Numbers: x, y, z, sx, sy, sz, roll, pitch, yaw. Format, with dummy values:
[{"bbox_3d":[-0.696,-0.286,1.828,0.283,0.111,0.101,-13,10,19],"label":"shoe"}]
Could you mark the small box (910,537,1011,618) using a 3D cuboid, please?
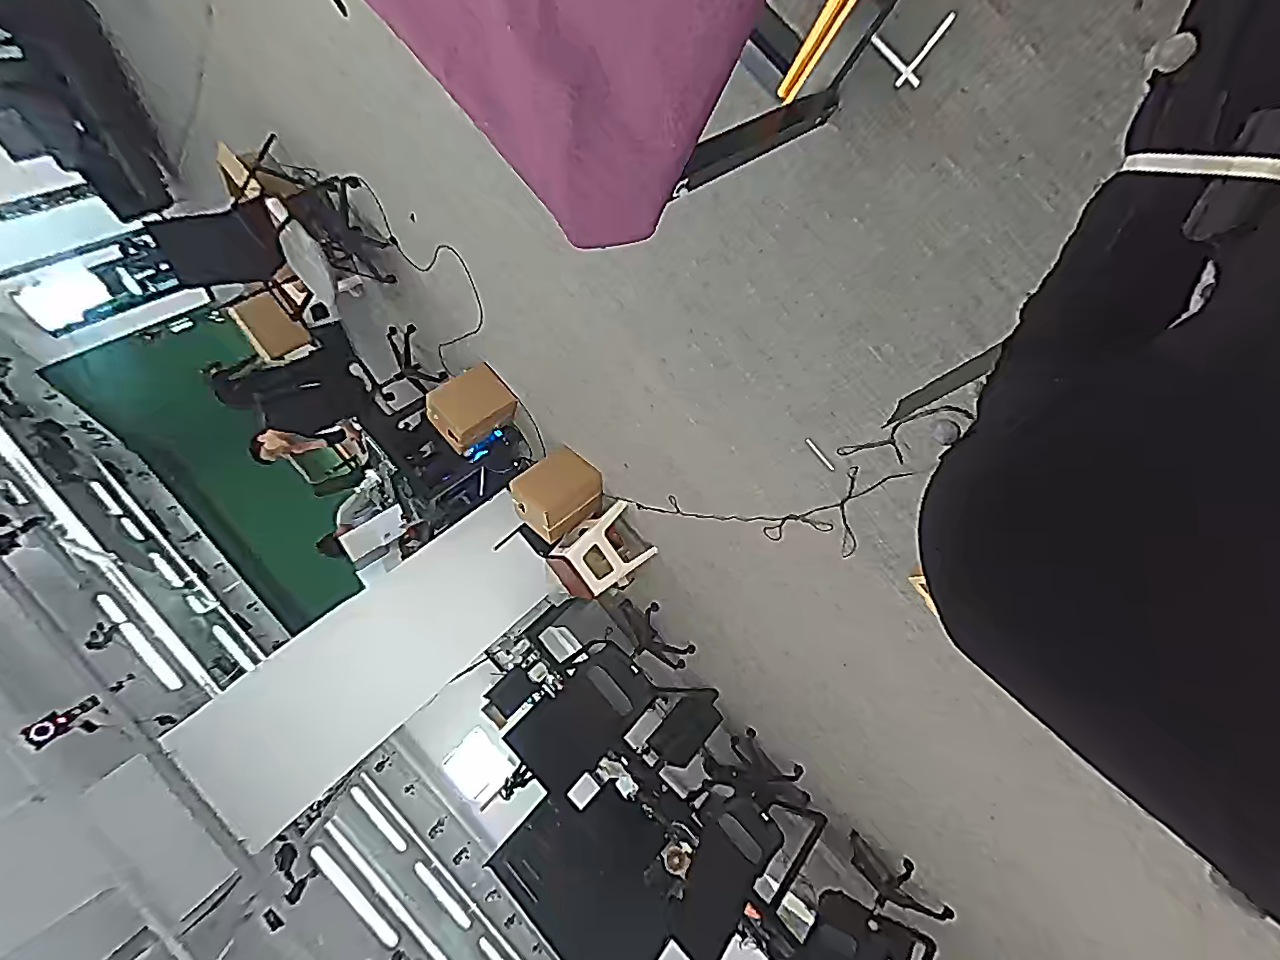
[{"bbox_3d":[0.957,0.291,1.613,0.168,0.176,0.179,52,150,-6],"label":"small box"}]
